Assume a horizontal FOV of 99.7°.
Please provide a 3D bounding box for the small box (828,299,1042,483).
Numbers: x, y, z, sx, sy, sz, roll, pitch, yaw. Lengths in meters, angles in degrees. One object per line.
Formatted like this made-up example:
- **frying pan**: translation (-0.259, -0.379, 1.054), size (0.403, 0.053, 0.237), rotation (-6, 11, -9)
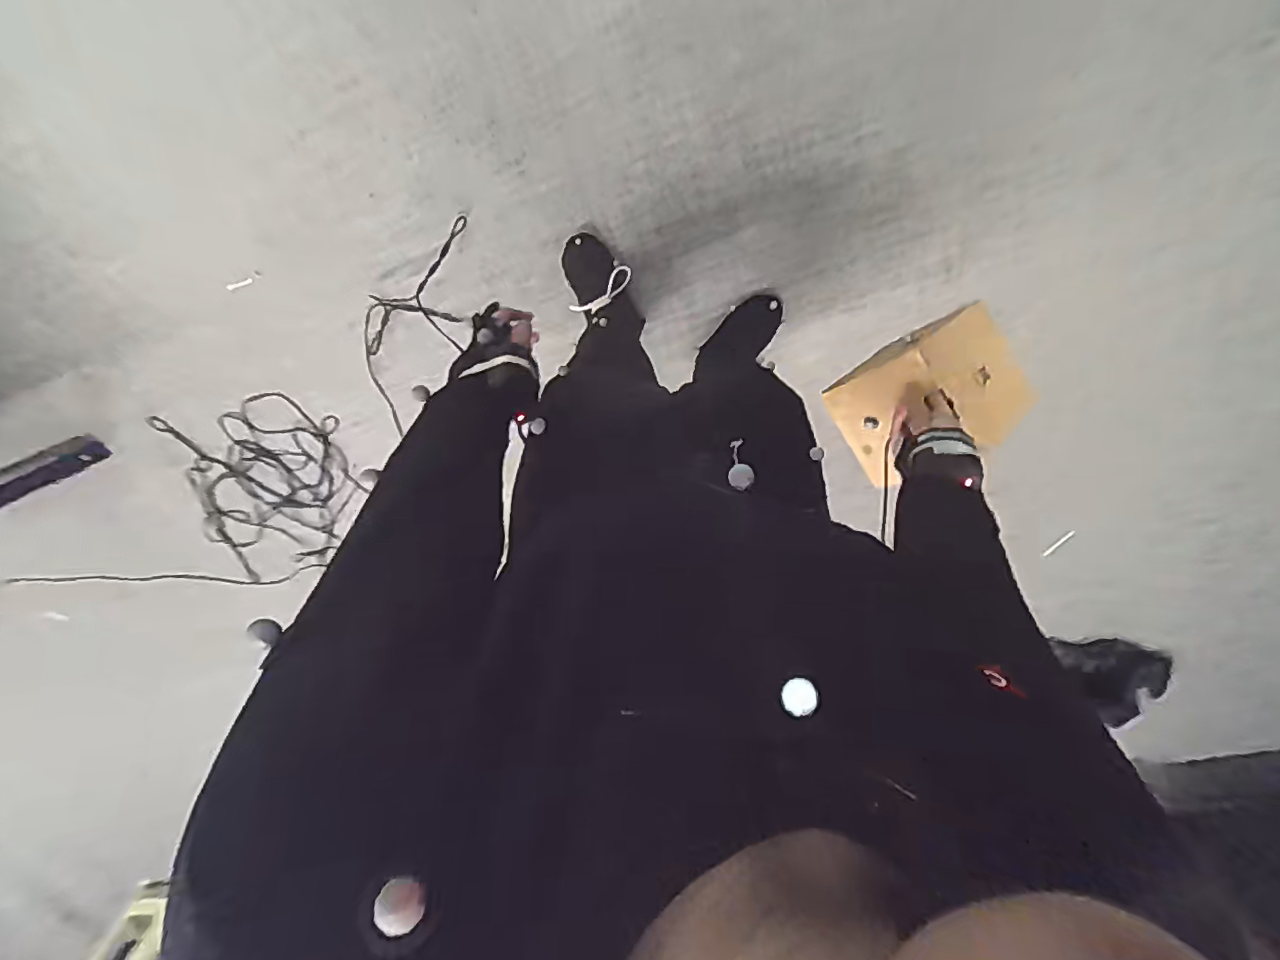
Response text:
- **small box**: translation (0.401, -0.115, 0.752), size (0.179, 0.176, 0.168), rotation (-34, 94, -25)
